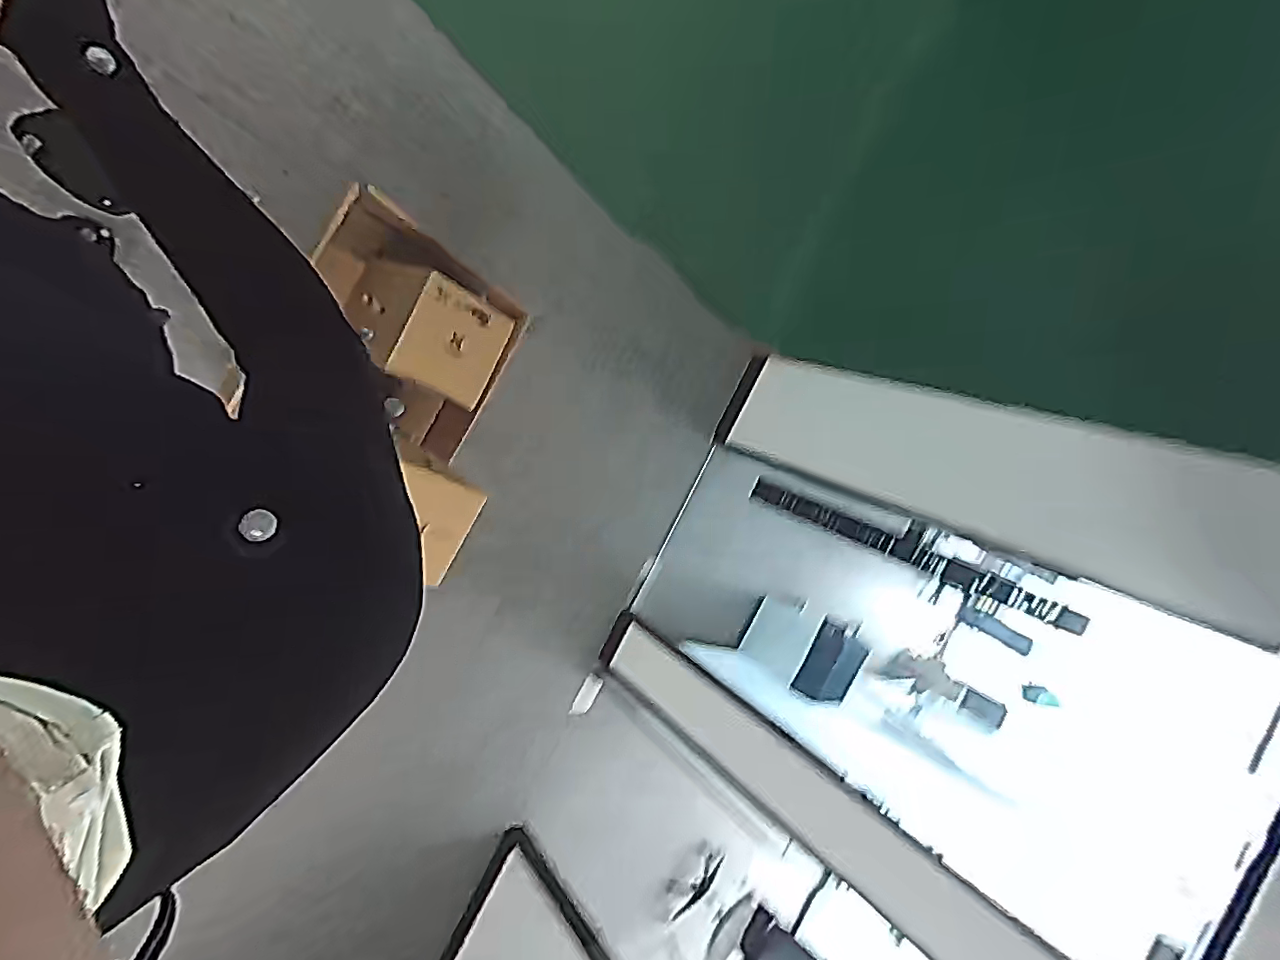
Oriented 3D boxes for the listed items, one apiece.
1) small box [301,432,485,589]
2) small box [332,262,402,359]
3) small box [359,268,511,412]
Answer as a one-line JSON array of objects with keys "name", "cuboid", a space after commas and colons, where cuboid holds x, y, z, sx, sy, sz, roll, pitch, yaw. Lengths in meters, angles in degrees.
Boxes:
[{"name": "small box", "cuboid": [-0.383, 0.042, 0.832, 0.179, 0.176, 0.168, 31, 88, -48]}, {"name": "small box", "cuboid": [-0.472, -0.303, 1.059, 0.168, 0.176, 0.179, 29, 90, -47]}, {"name": "small box", "cuboid": [-0.366, -0.247, 0.947, 0.168, 0.176, 0.179, 26, 92, -47]}]
